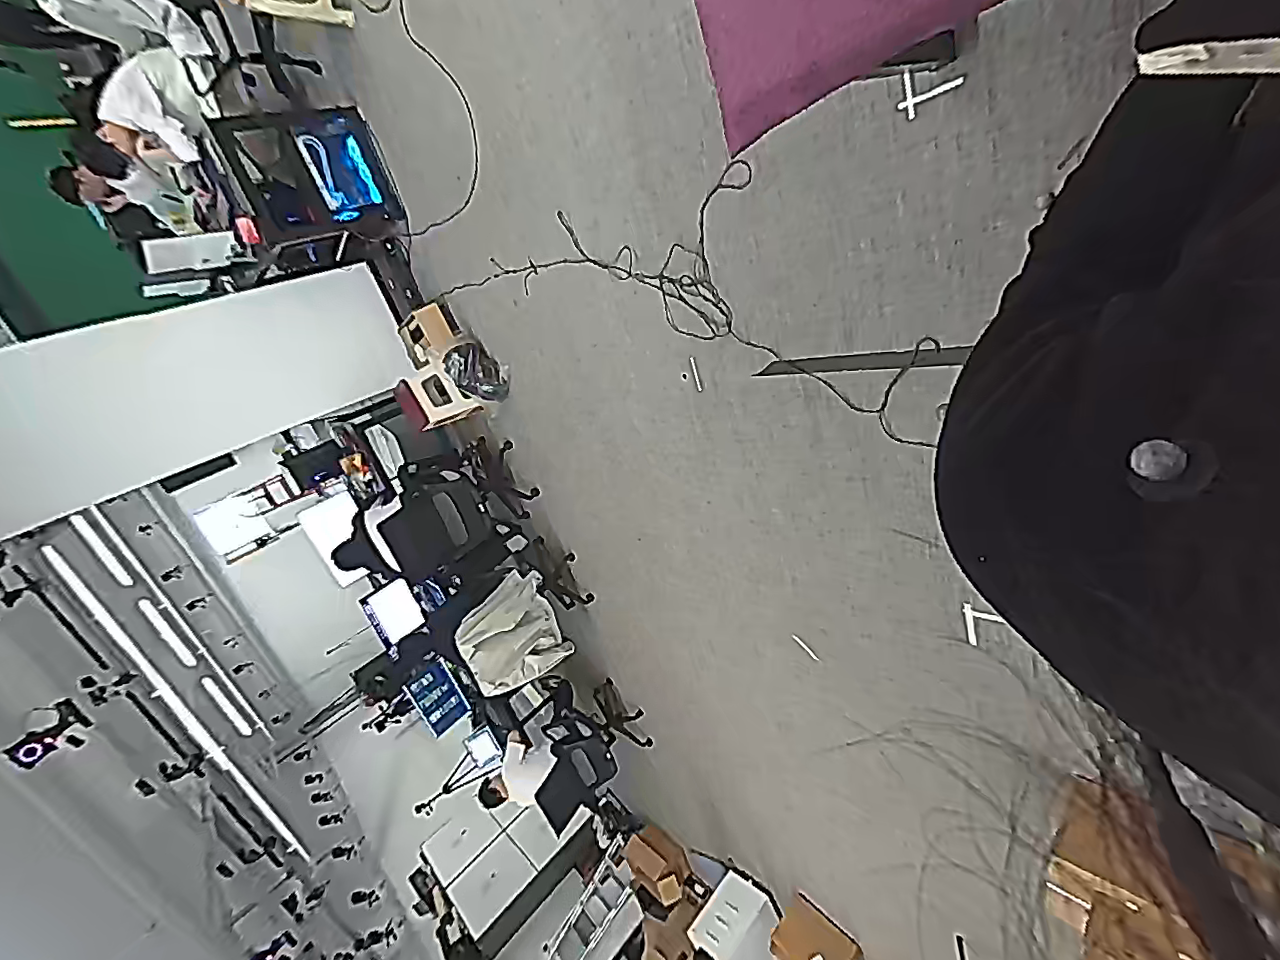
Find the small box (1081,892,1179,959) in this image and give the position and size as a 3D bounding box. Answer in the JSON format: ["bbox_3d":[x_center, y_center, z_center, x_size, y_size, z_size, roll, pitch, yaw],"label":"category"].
[{"bbox_3d":[1.315,1.271,1.451,0.179,0.176,0.168,7,122,50],"label":"small box"}]
